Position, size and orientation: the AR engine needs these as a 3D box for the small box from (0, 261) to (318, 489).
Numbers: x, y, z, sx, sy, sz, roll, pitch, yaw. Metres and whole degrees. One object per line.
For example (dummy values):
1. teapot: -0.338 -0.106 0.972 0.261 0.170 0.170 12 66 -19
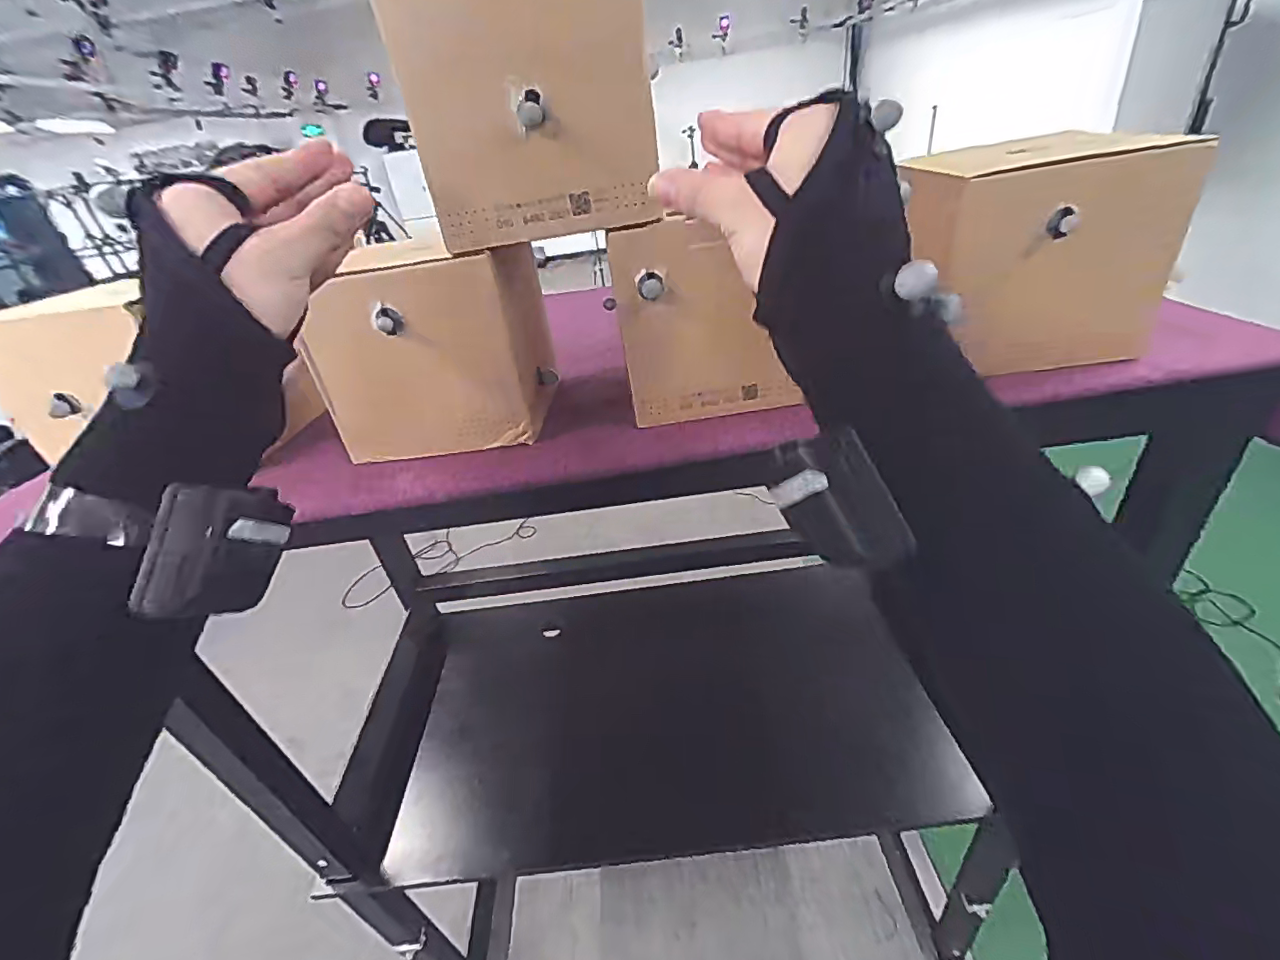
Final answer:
1. small box: -0.462 -0.101 0.533 0.168 0.176 0.179 -6 31 5

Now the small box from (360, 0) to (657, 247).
1. small box: -0.084 -0.293 0.428 0.168 0.176 0.179 -10 33 0
